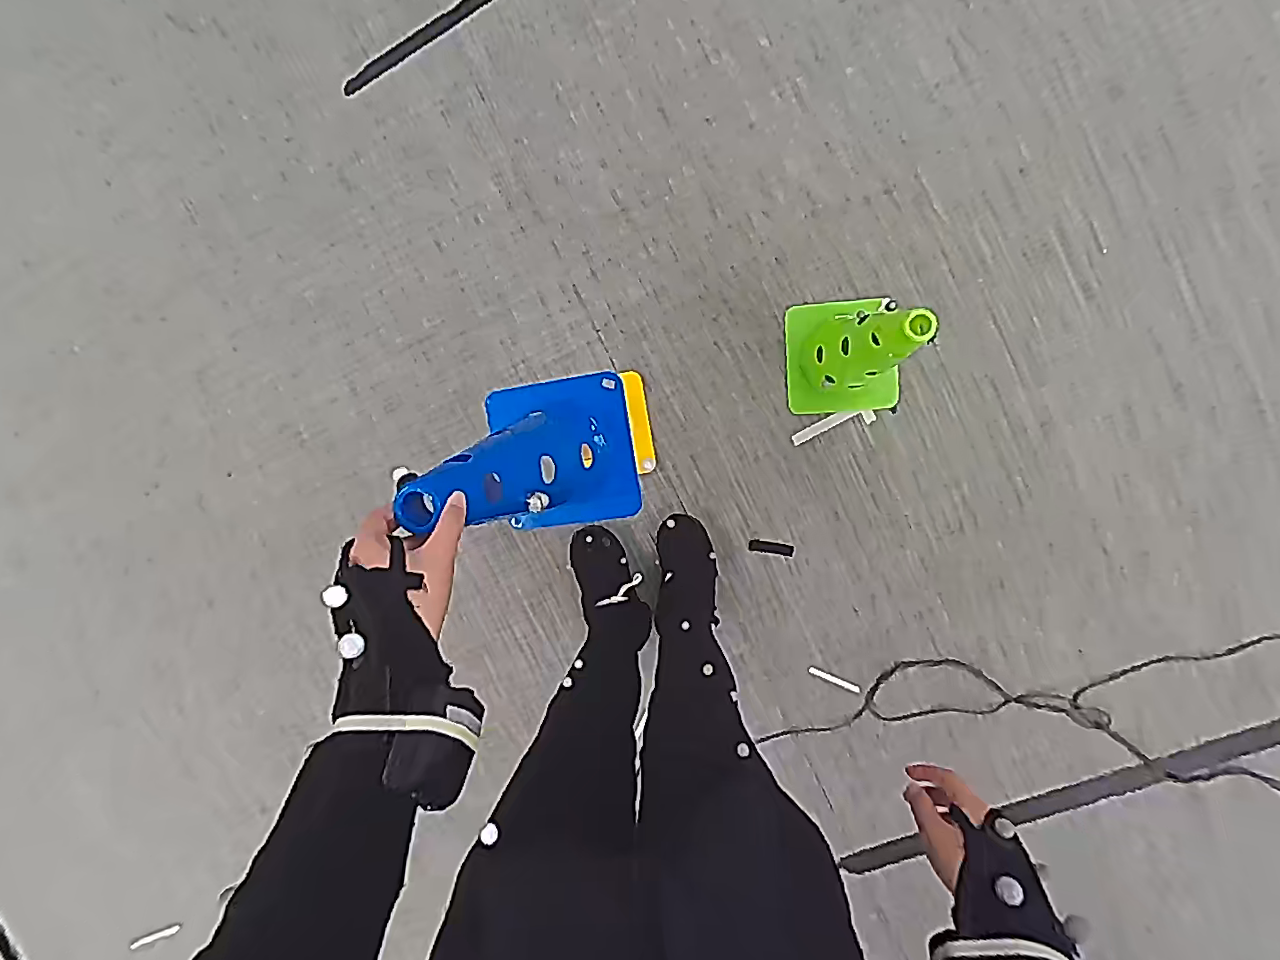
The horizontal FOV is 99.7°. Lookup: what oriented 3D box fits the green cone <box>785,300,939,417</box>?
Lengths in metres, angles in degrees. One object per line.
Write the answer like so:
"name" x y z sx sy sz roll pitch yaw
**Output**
"green cone" 0.353 -0.201 0.825 0.200 0.368 0.202 -4 97 7
